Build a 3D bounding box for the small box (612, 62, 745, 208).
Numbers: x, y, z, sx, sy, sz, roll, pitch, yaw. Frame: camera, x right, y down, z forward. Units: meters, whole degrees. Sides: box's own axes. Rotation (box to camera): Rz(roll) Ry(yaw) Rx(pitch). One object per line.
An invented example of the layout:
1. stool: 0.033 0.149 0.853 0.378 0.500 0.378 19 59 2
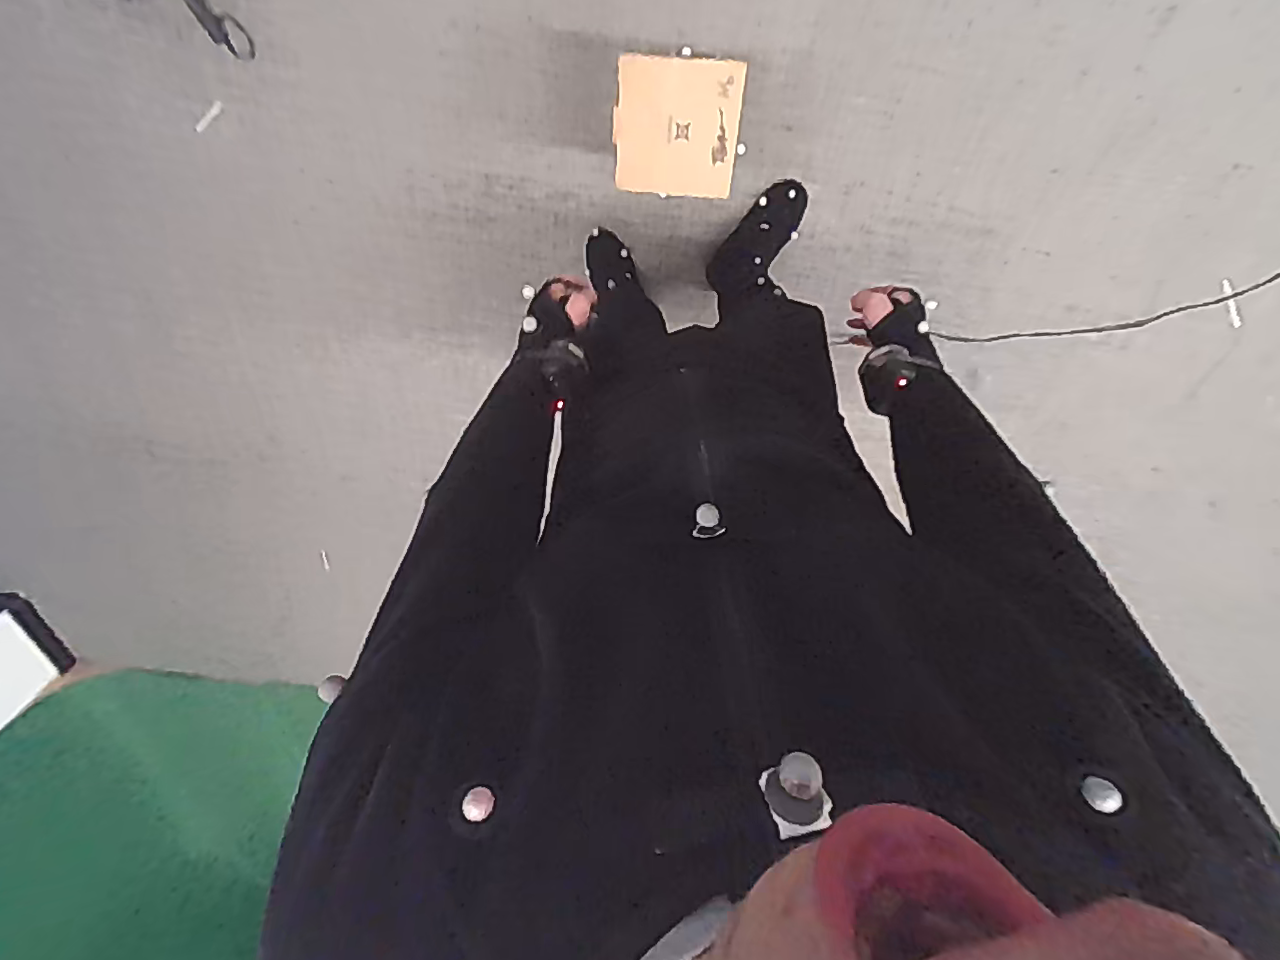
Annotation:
1. small box: 0.059 -0.532 0.839 0.179 0.176 0.168 7 125 3
